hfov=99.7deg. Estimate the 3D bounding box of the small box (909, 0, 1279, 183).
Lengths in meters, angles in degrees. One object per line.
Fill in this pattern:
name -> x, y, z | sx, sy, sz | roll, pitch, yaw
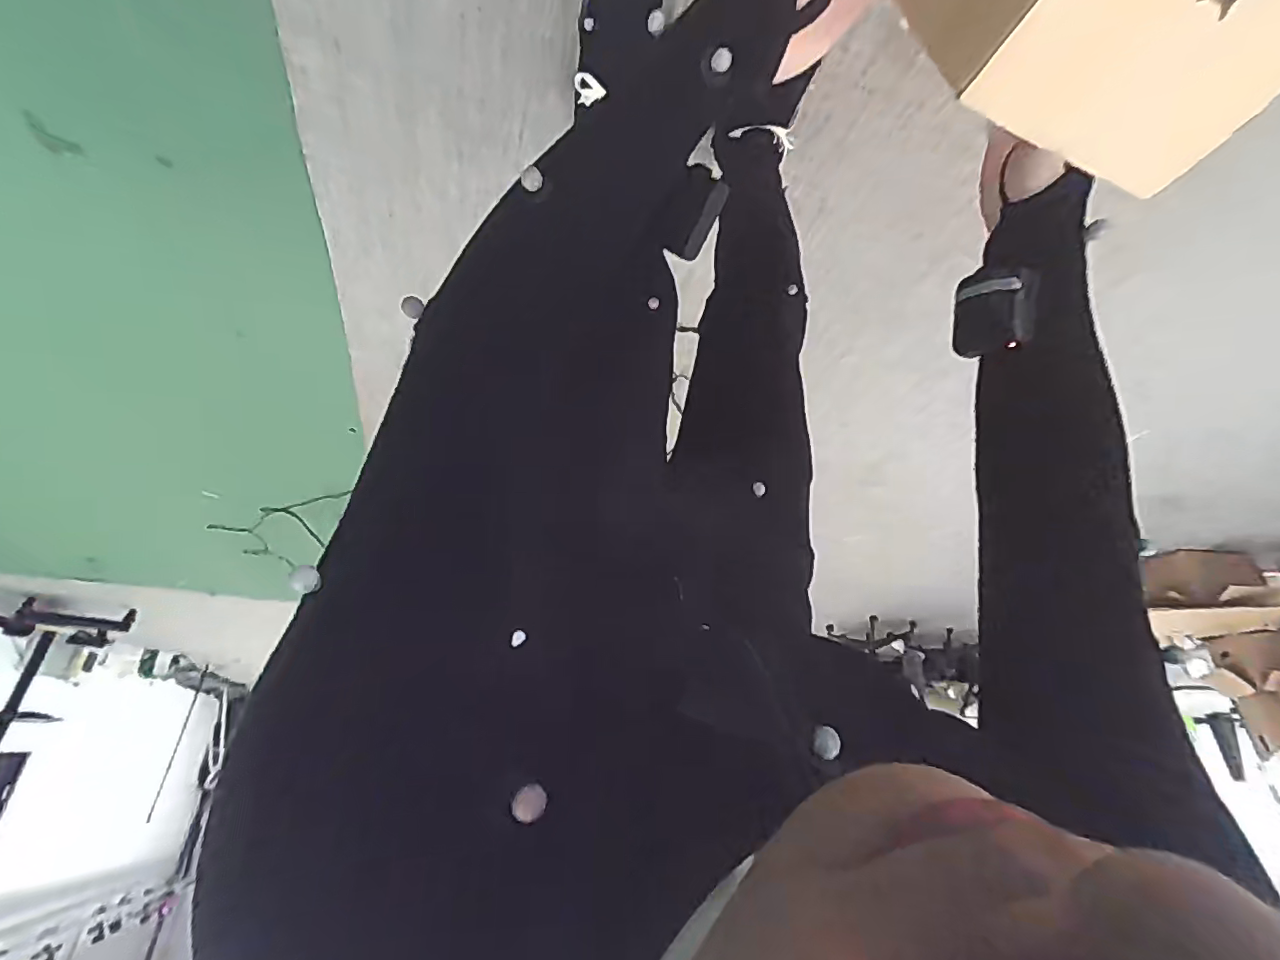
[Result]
small box -> 0.262, -0.304, 0.277 | 0.168, 0.176, 0.179 | 9, 148, -19
